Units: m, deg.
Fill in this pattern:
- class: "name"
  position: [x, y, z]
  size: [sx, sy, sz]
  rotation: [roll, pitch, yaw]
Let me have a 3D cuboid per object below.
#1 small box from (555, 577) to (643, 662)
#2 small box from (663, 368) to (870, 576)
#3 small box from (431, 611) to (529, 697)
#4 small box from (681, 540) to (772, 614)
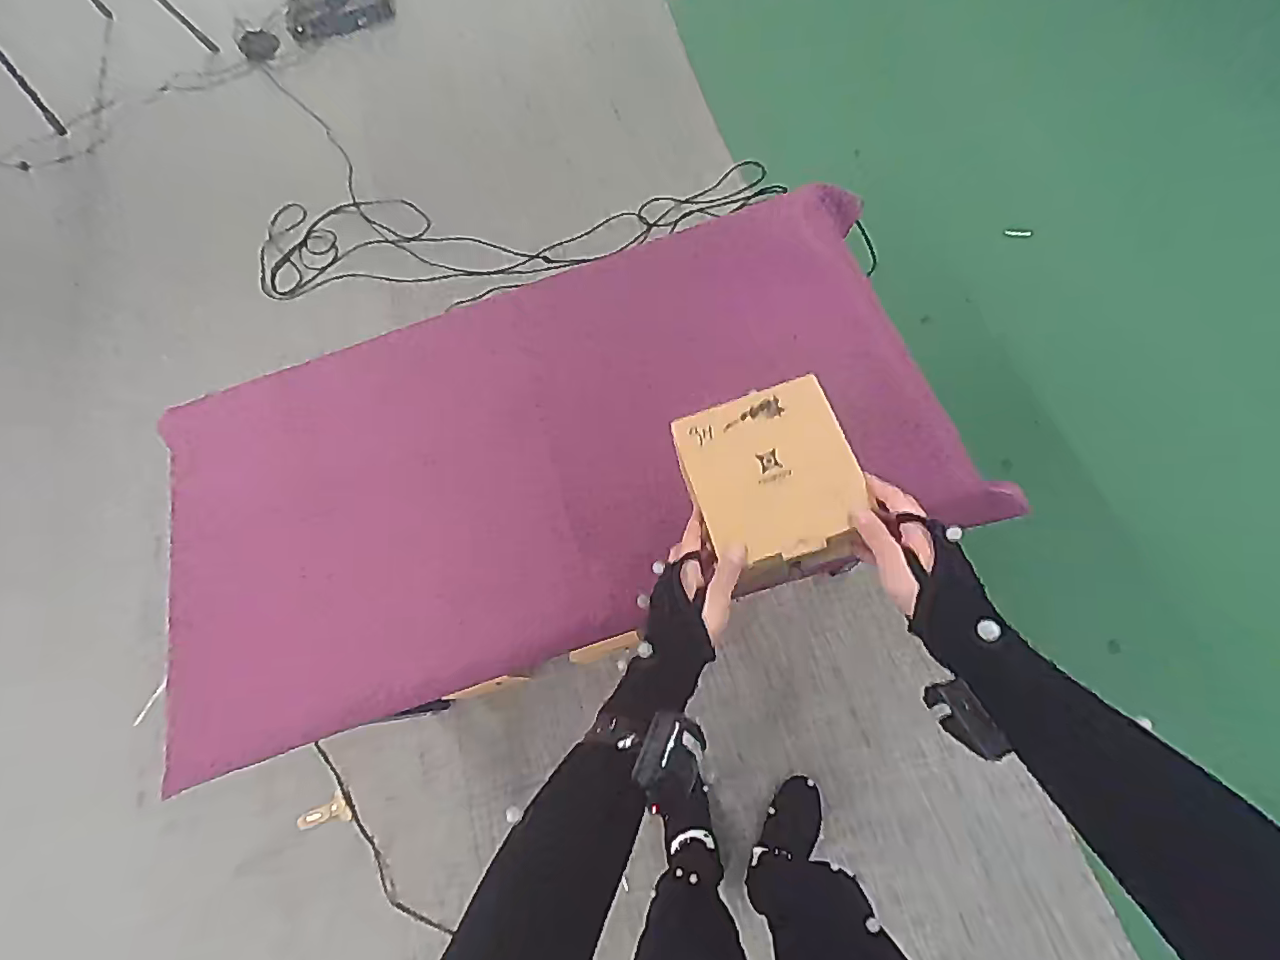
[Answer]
- class: "small box"
  position: [-0.098, 0.361, 1.384]
  size: [0.179, 0.176, 0.168]
  rotation: [-18, 68, 2]
- class: "small box"
  position: [0.137, 0.005, 0.626]
  size: [0.168, 0.176, 0.179]
  rotation: [-18, 70, 3]
- class: "small box"
  position: [-0.409, 0.453, 1.397]
  size: [0.179, 0.176, 0.168]
  rotation: [-19, 69, 1]
- class: "small box"
  position: [0.220, 0.232, 1.382]
  size: [0.179, 0.176, 0.168]
  rotation: [-21, 69, 1]
